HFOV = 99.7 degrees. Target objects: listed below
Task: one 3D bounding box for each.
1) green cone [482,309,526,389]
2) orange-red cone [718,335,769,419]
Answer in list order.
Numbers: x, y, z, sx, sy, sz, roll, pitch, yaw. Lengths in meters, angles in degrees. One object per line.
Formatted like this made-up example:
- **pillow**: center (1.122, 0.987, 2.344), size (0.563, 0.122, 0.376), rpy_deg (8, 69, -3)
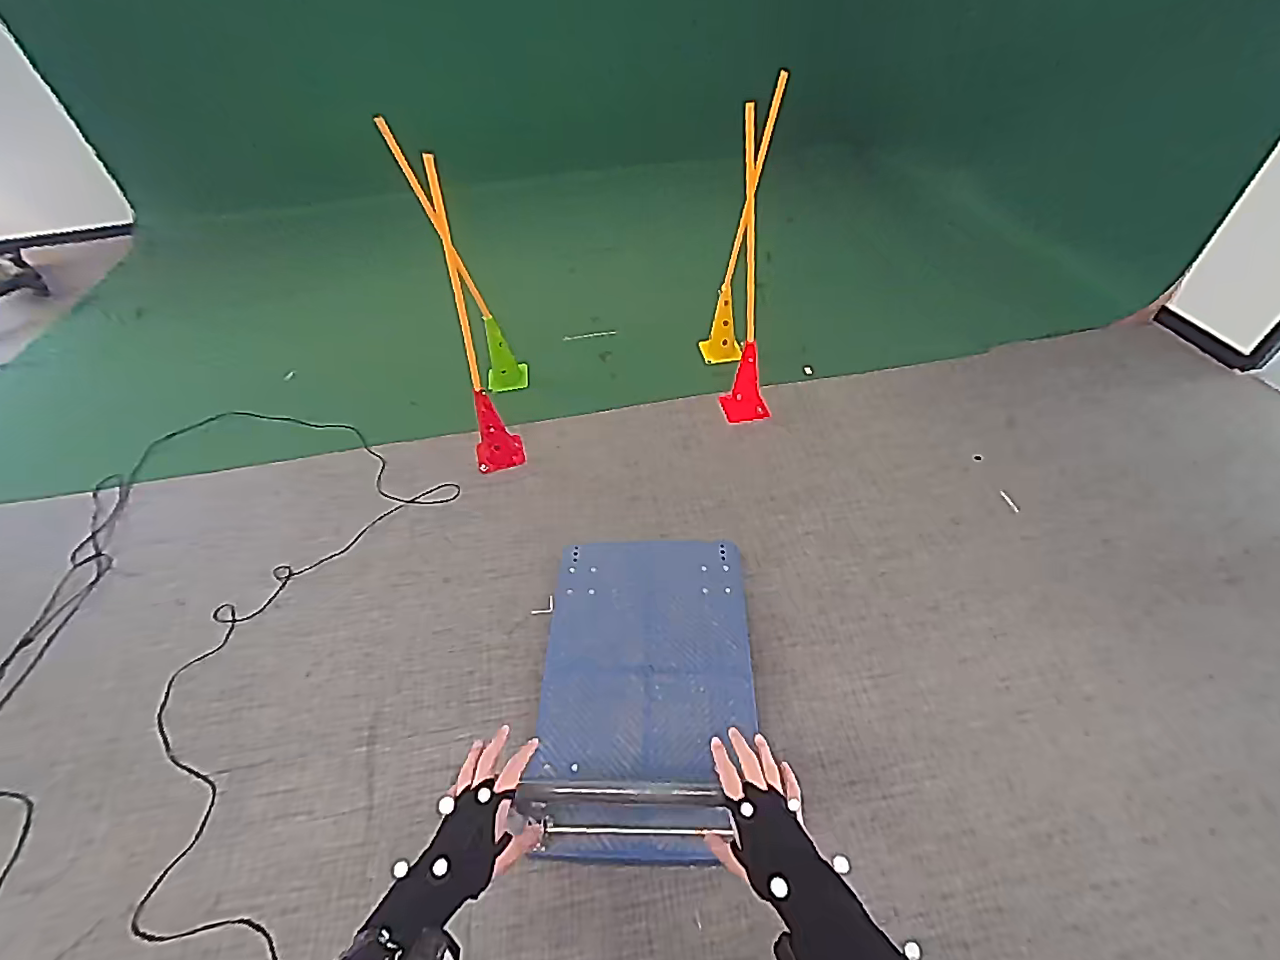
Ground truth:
- **green cone**: center (-0.687, -0.648, 2.598), size (0.200, 0.368, 0.202), rpy_deg (-10, 47, -3)
- **orange-red cone**: center (0.461, -0.465, 2.345), size (0.198, 0.360, 0.199), rpy_deg (-8, 46, -4)
